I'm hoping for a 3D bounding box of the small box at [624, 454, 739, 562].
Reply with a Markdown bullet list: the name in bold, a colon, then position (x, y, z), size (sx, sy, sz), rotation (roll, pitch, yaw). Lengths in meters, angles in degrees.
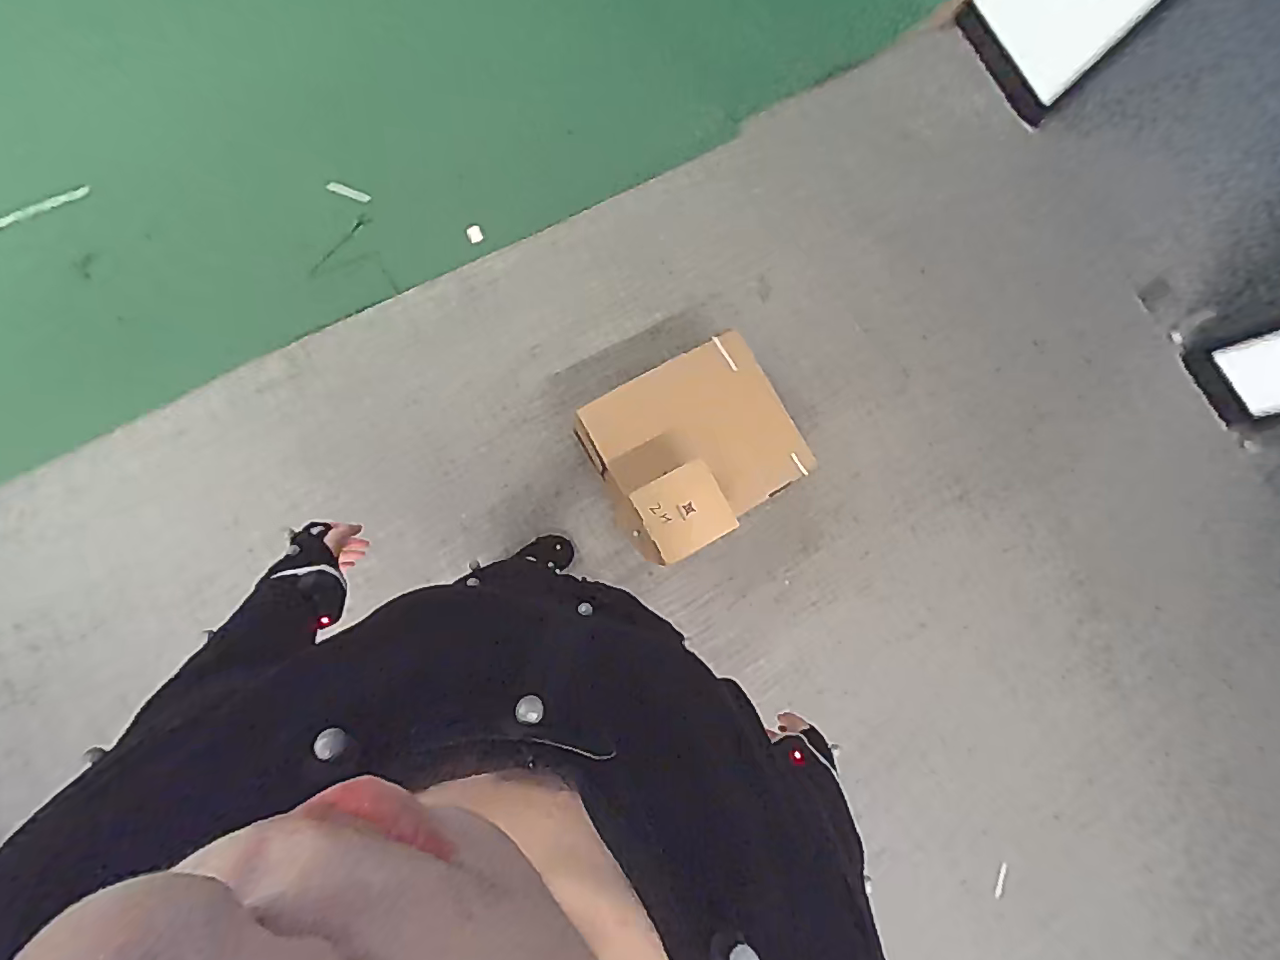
- **small box**: position (0.081, 0.062, 1.166), size (0.179, 0.176, 0.168), rotation (-28, 87, -10)
